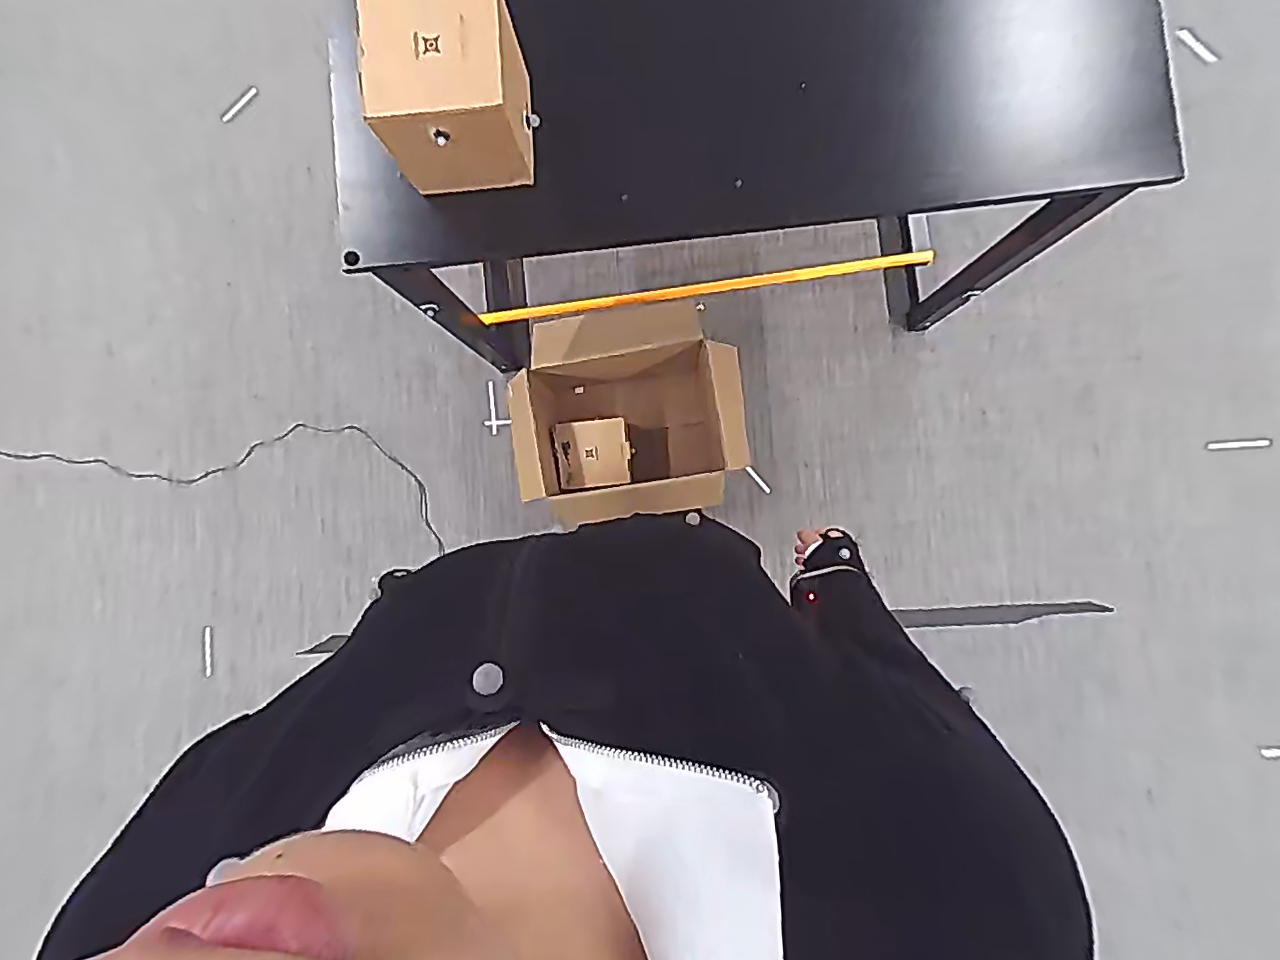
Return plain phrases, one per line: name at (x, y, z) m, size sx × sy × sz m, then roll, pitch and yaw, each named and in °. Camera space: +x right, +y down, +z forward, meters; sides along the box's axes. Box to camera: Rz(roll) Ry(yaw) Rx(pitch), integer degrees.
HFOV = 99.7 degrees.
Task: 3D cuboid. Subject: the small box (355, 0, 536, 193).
small box at (-0.248, -0.509, 0.722) m, size 0.179 × 0.176 × 0.168 m, roll -4°, pitch 88°, yaw 1°
